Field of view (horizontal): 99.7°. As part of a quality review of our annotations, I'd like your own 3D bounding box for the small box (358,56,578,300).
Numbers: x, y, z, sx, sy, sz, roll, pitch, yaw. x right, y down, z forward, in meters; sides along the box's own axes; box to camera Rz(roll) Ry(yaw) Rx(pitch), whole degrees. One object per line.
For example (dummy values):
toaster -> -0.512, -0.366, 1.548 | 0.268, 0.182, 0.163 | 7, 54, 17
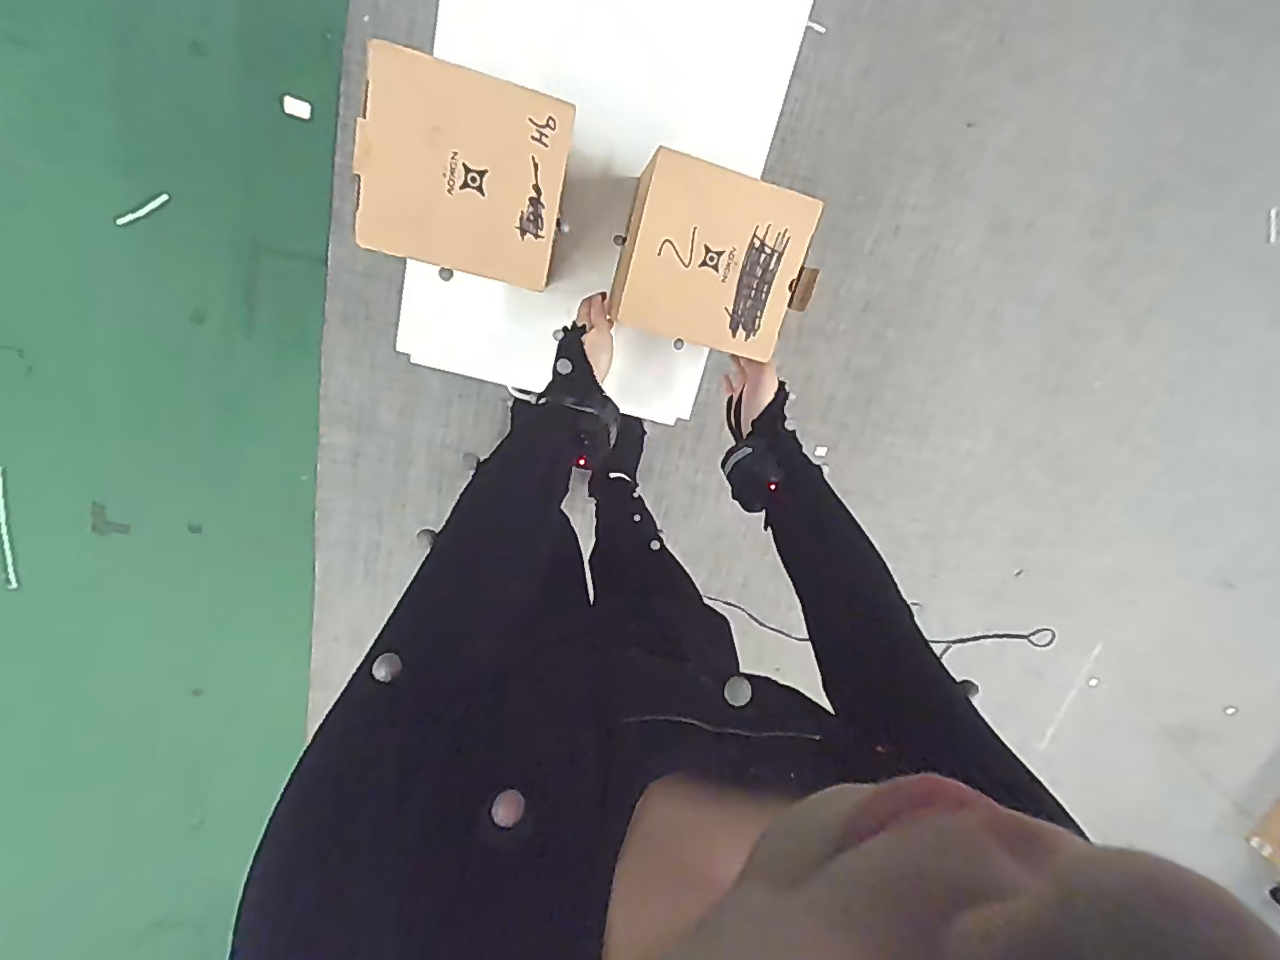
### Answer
small box -> -0.170, -0.292, 0.569 | 0.179, 0.176, 0.168 | 11, 107, -13
